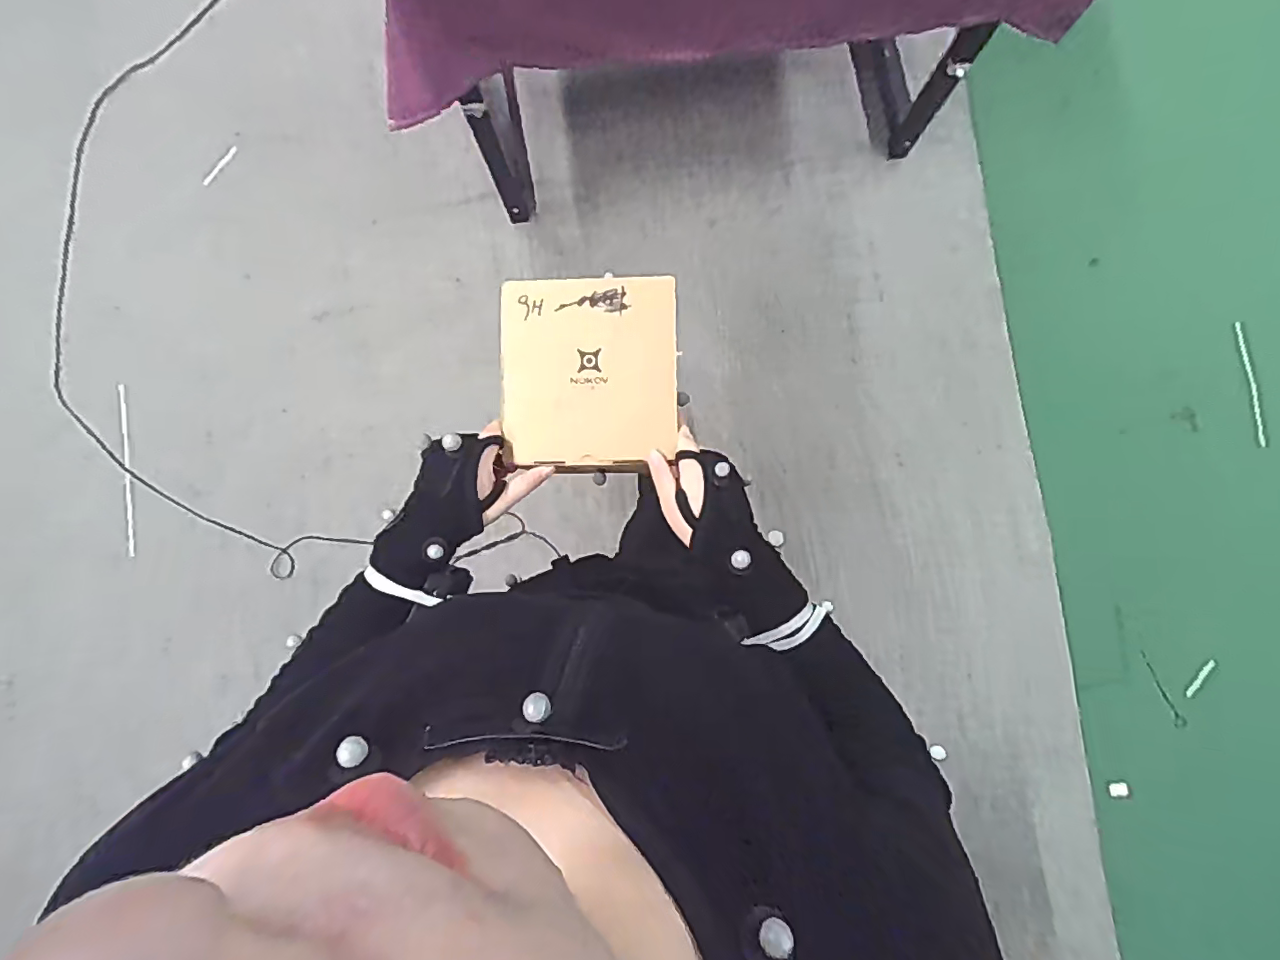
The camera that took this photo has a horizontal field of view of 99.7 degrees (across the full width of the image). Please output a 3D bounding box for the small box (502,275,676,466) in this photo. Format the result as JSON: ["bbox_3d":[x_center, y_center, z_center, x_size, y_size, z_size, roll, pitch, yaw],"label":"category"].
[{"bbox_3d":[-0.044,-0.103,0.584,0.168,0.176,0.179,-1,89,2],"label":"small box"}]
